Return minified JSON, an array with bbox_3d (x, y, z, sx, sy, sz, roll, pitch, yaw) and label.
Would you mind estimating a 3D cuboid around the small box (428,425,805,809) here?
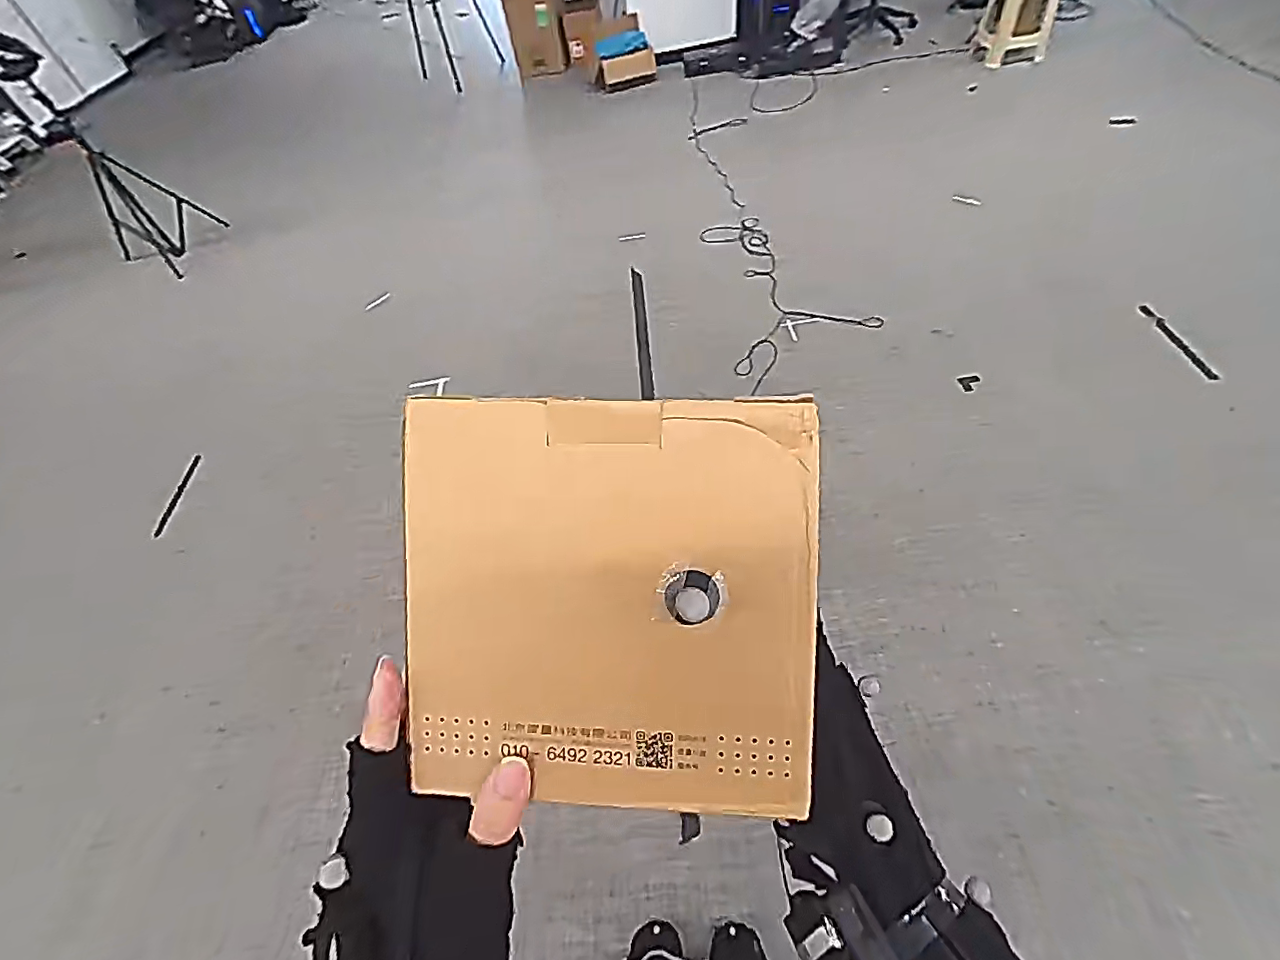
[{"bbox_3d":[-0.002,0.056,0.314,0.168,0.179,0.176,1,93,7],"label":"small box"}]
